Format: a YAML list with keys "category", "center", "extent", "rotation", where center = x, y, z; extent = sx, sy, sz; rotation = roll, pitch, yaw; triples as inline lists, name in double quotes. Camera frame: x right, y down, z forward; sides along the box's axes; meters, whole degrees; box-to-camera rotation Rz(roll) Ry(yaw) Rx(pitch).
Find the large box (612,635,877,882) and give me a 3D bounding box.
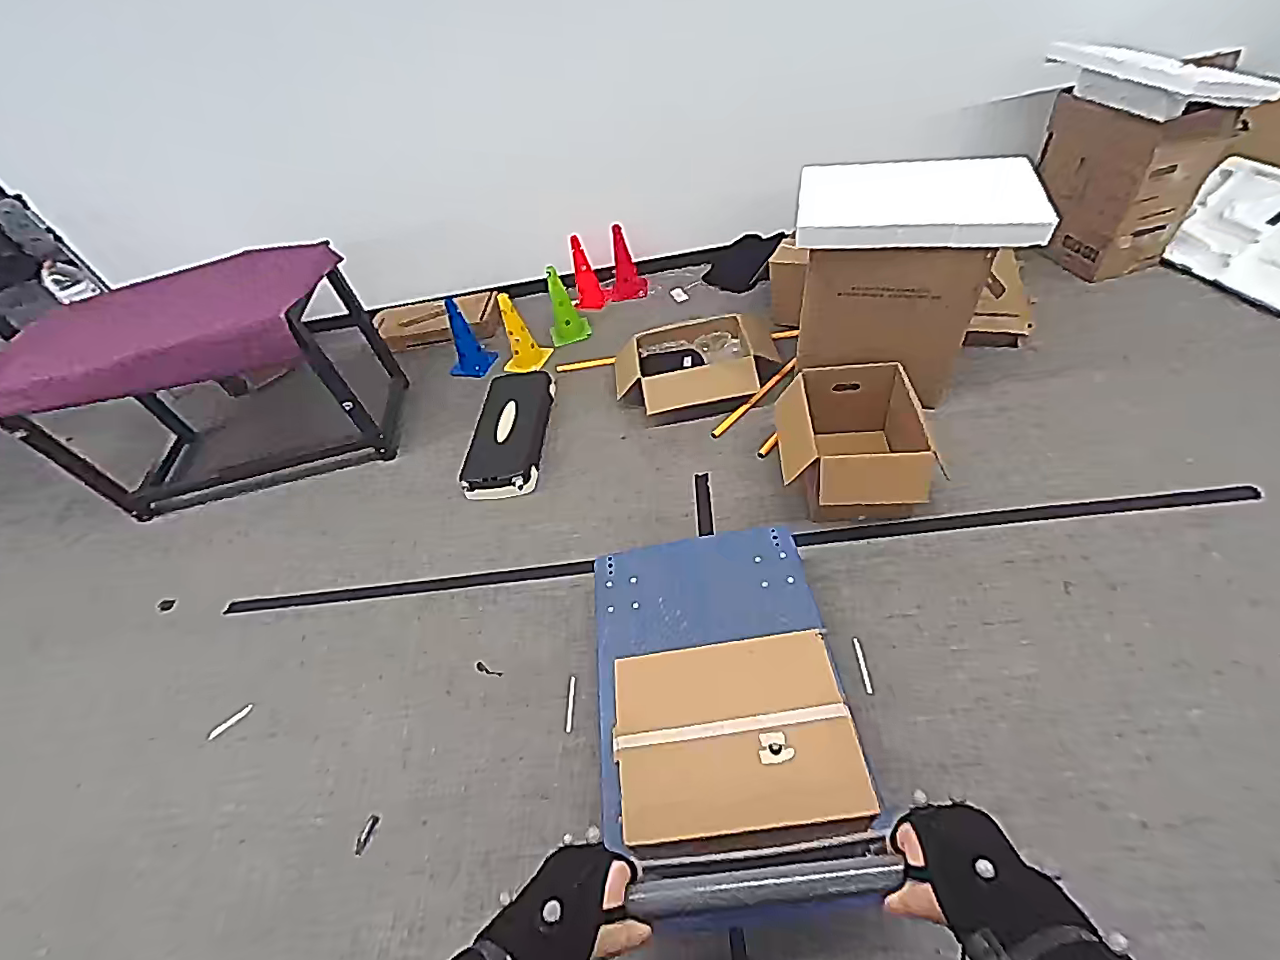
- category: "large box"
  center: [0.176, 0.540, 1.040]
  extent: [0.408, 0.320, 0.320]
  rotation: [-10, 47, 3]
